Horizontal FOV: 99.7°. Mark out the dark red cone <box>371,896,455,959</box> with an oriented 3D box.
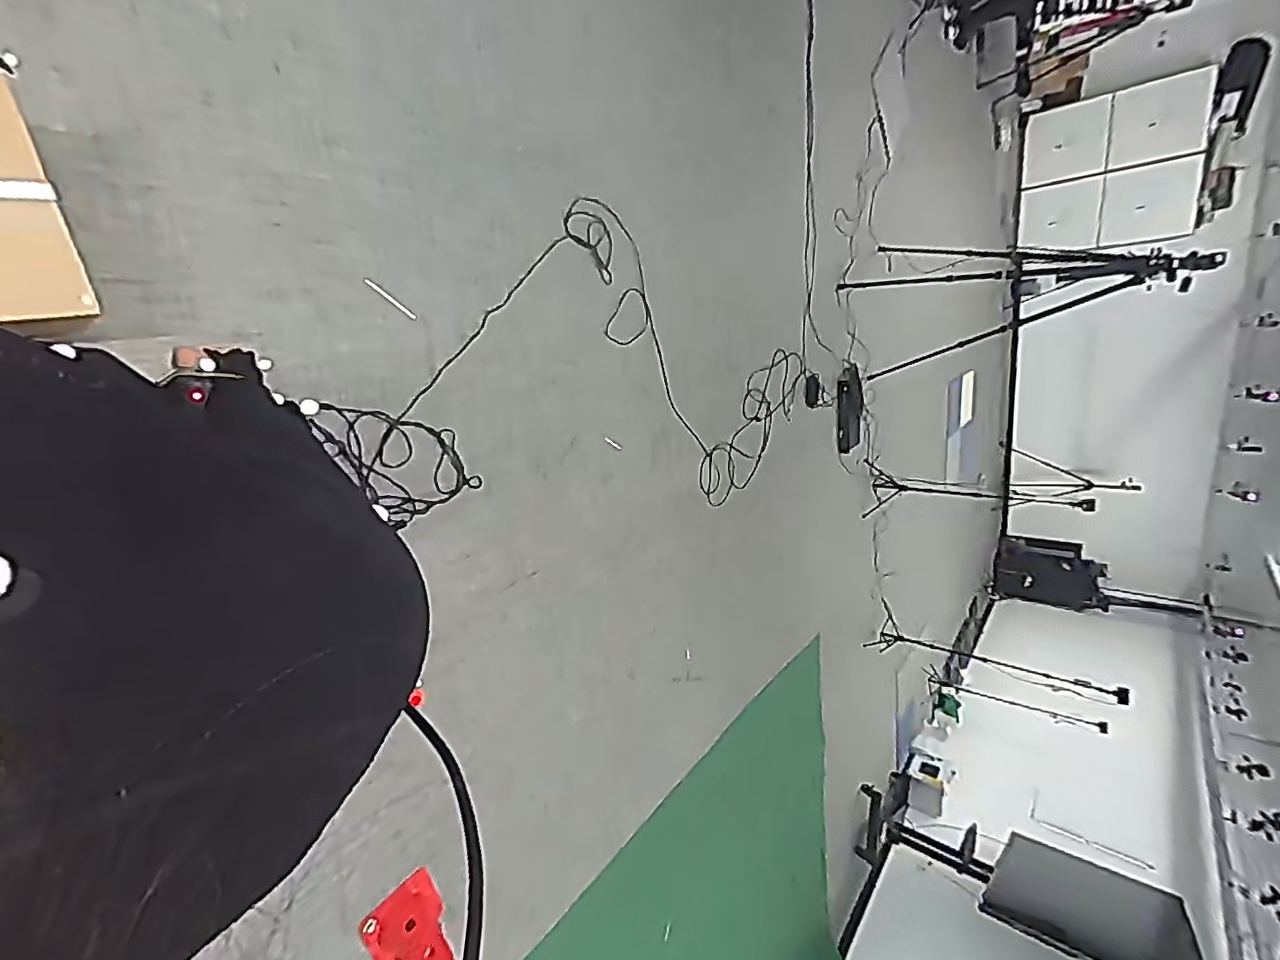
[{"bbox_3d":[-0.489,1.281,1.358,0.202,0.394,0.201,-32,120,-42],"label":"dark red cone"}]
